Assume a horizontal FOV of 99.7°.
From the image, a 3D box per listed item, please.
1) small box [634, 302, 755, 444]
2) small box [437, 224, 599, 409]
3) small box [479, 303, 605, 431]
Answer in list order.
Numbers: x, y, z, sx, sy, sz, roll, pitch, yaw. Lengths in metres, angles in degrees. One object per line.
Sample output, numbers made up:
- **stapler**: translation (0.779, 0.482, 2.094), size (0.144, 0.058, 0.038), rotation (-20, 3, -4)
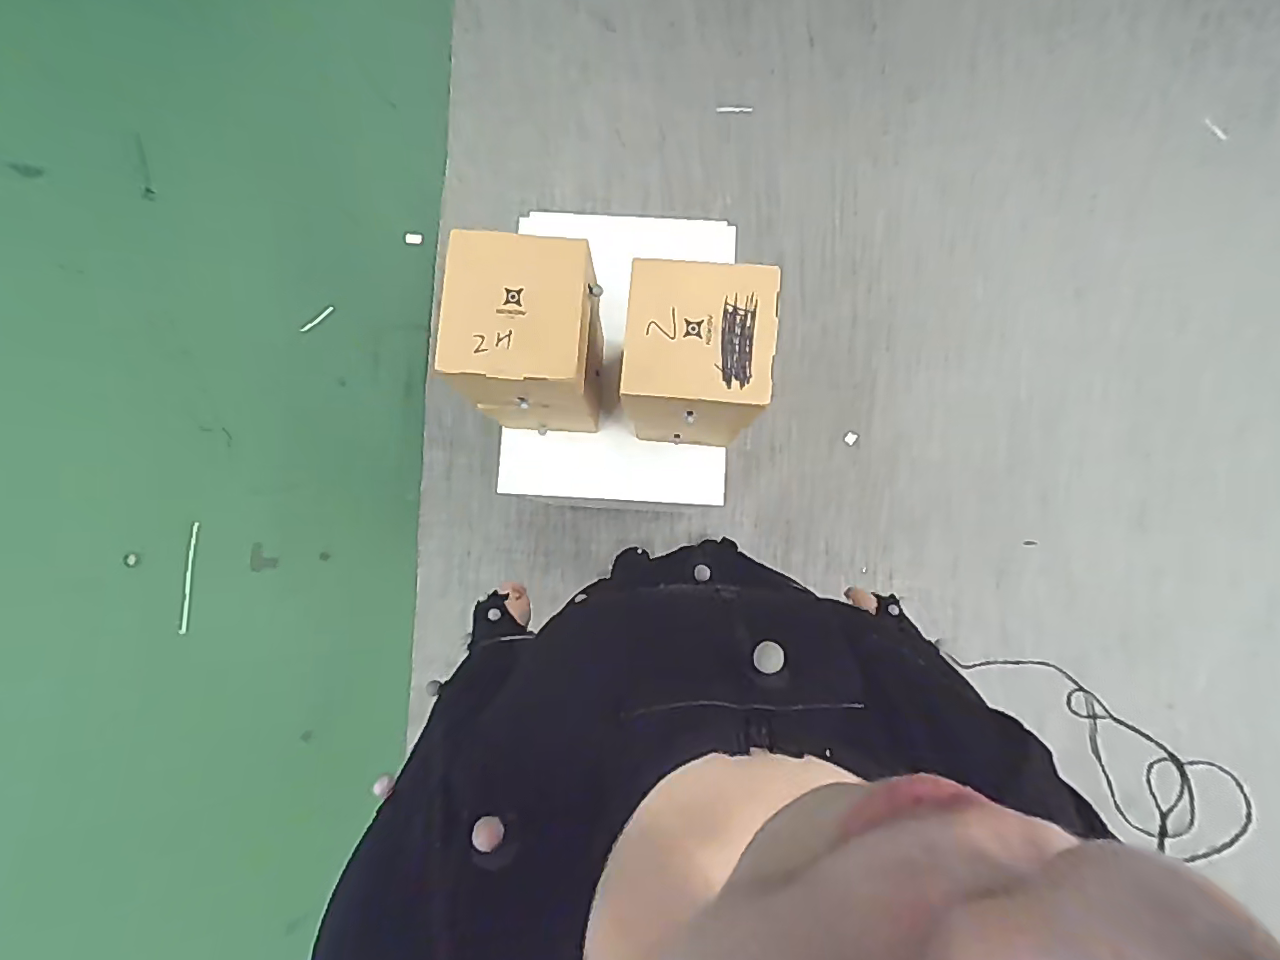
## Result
- **small box**: translation (0.083, -0.163, 0.867), size (0.168, 0.176, 0.179), rotation (5, 86, 3)
- **small box**: translation (-0.146, -0.203, 0.710), size (0.168, 0.176, 0.179), rotation (5, 85, 1)
- **small box**: translation (-0.148, -0.185, 0.874), size (0.168, 0.176, 0.179), rotation (4, 86, 1)
